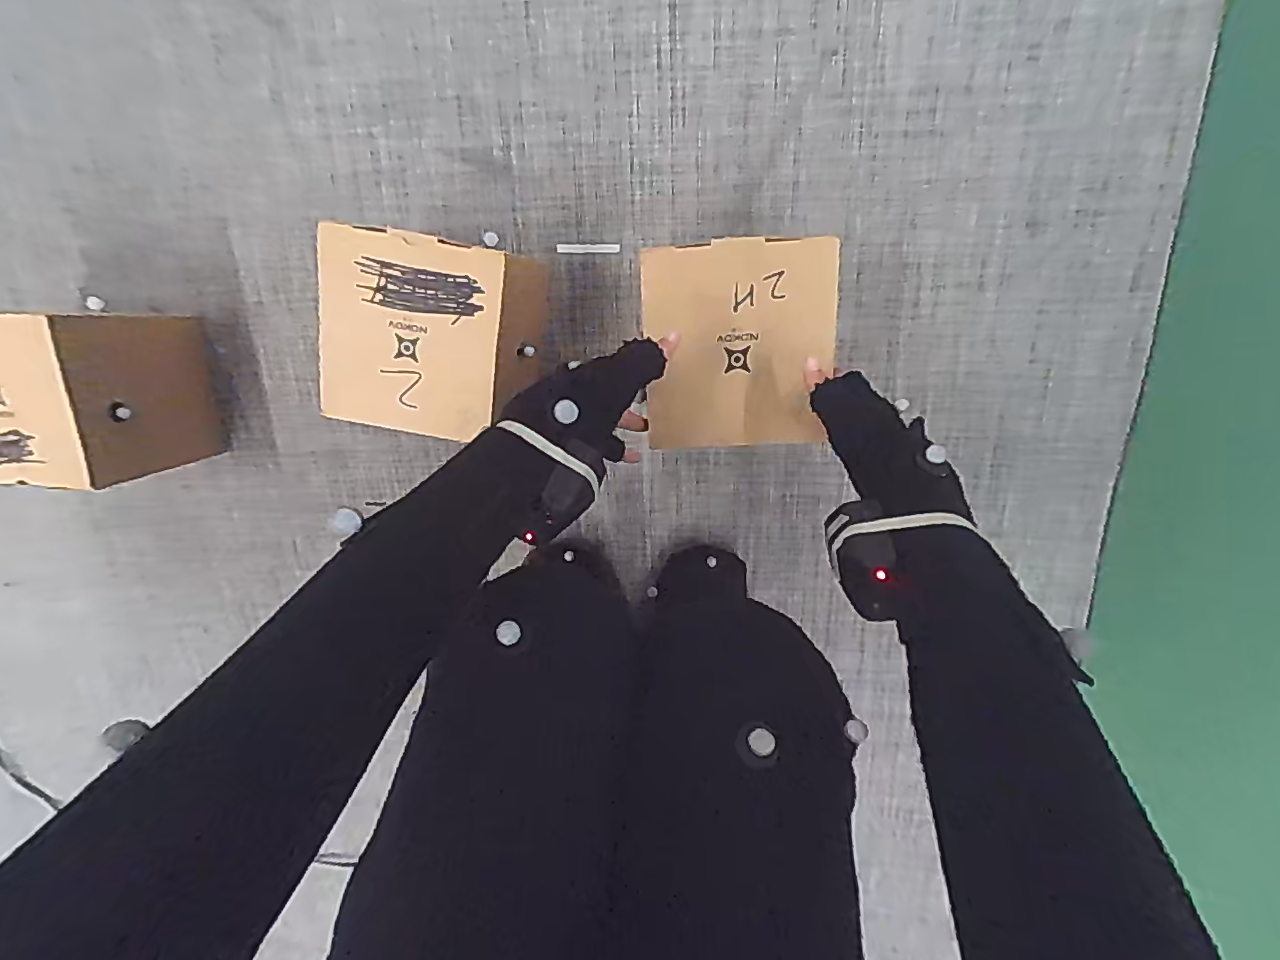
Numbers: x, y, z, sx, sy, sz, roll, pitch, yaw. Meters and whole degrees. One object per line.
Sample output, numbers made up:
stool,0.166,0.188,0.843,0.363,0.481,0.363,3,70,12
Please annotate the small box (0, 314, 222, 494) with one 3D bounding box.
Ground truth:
small box,-0.627,-0.096,0.618,0.168,0.176,0.179,3,107,4

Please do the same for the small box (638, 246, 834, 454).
small box,0.088,-0.133,0.551,0.168,0.176,0.179,-2,107,4
